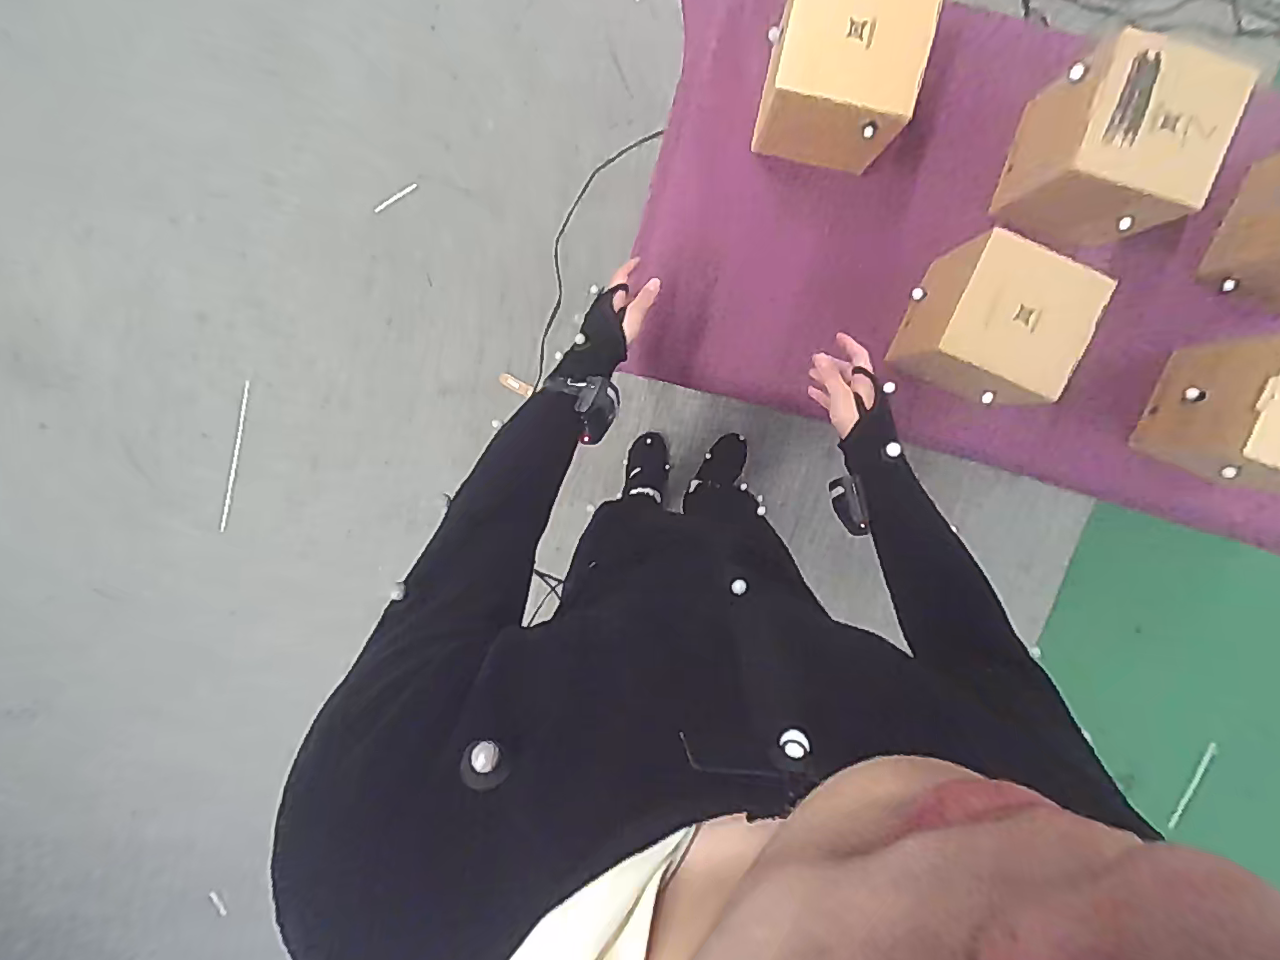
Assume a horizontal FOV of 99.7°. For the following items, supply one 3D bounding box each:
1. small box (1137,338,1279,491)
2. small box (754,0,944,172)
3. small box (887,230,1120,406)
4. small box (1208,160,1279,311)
[{"bbox_3d":[0.880,-0.083,0.767,0.179,0.176,0.168,21,96,-1],"label":"small box"},{"bbox_3d":[0.265,-0.543,0.722,0.179,0.176,0.168,12,98,-1],"label":"small box"},{"bbox_3d":[0.491,-0.214,0.760,0.179,0.176,0.168,24,96,-1],"label":"small box"},{"bbox_3d":[0.950,-0.344,0.732,0.168,0.176,0.179,22,97,-2],"label":"small box"}]
